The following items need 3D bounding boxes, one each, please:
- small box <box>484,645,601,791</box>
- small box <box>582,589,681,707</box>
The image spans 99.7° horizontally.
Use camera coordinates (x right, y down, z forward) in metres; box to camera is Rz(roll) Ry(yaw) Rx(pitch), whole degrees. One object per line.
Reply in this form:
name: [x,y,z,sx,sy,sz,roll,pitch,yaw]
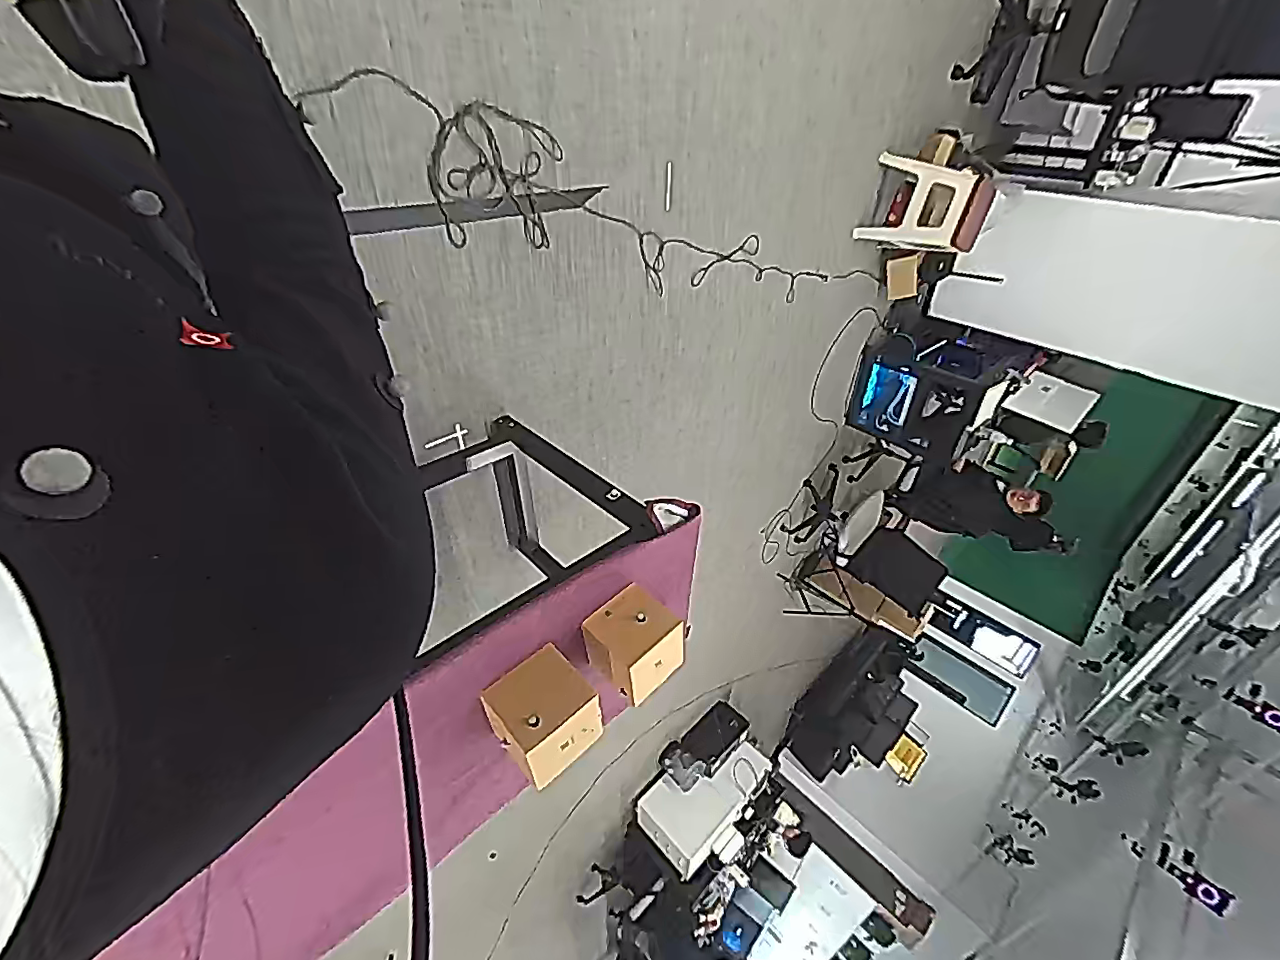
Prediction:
small box: [-0.204,0.484,1.116,0.179,0.176,0.168,-31,138,-31]
small box: [-0.020,0.379,1.261,0.168,0.176,0.179,-34,139,-30]
